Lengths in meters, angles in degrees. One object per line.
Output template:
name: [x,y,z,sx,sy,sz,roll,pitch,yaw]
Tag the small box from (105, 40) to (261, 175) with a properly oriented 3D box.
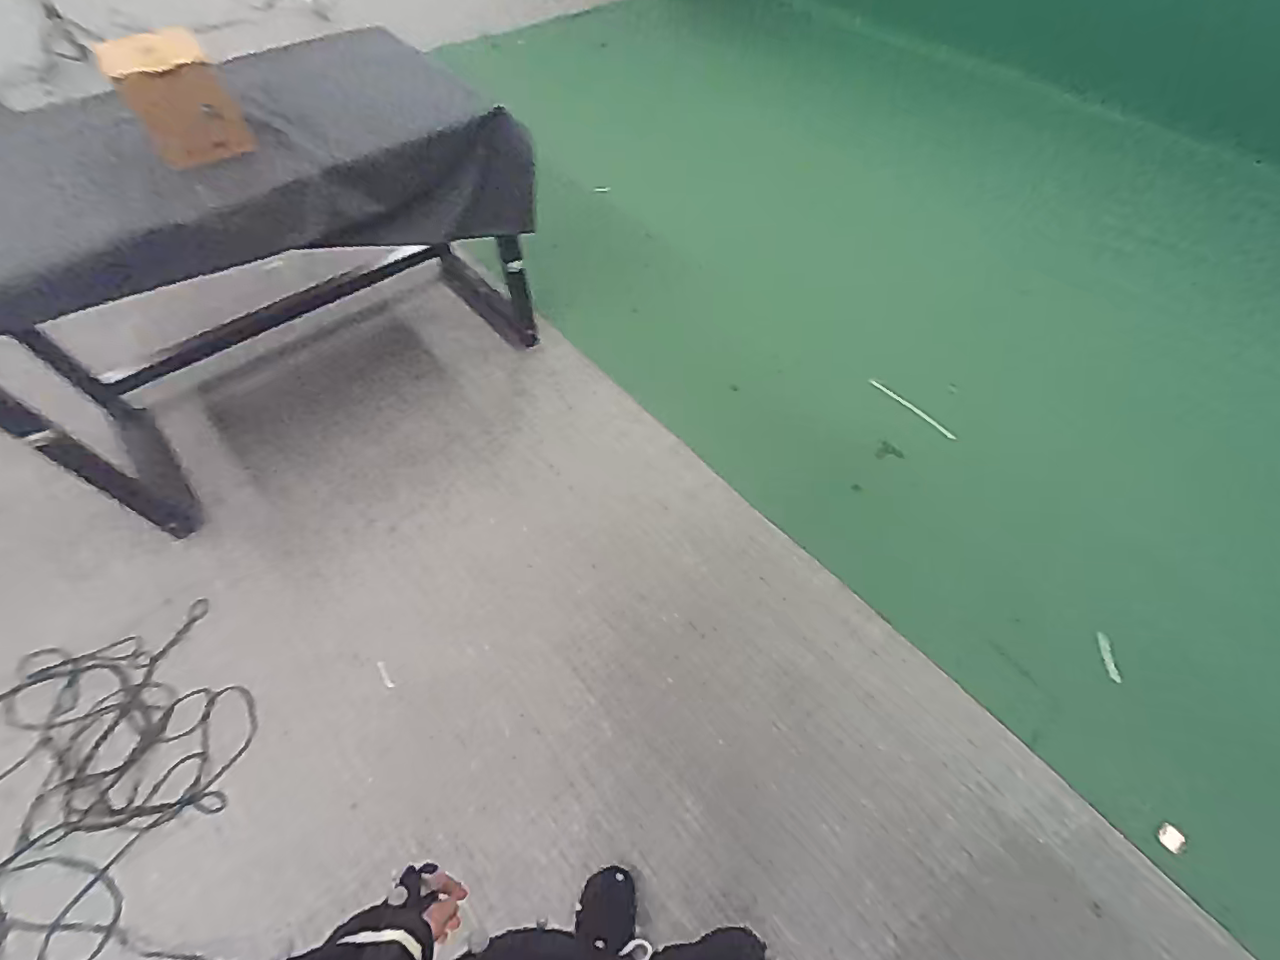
small box: [-0.907,-0.741,1.087,0.168,0.176,0.179,-32,61,-21]
